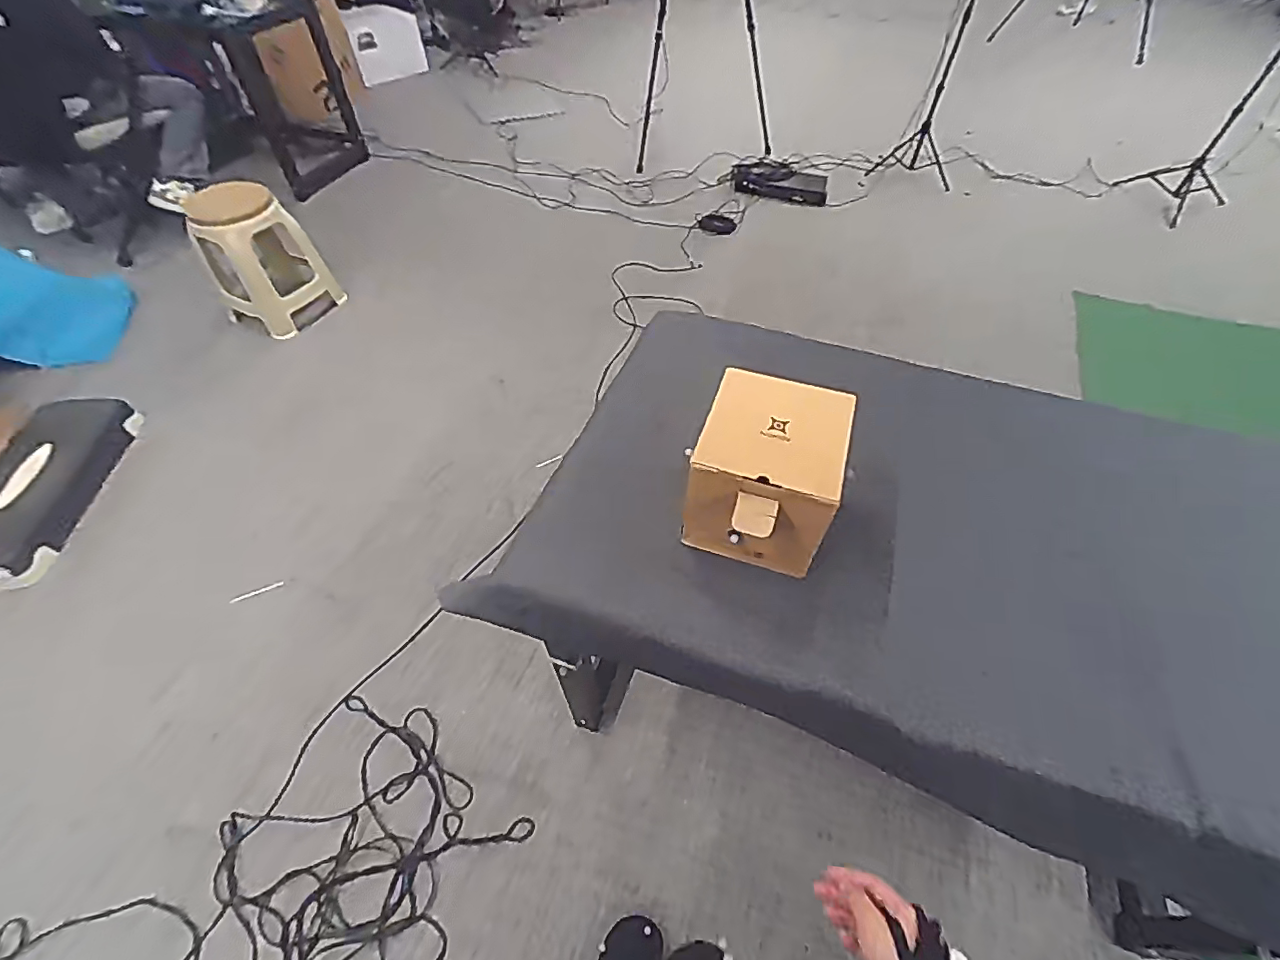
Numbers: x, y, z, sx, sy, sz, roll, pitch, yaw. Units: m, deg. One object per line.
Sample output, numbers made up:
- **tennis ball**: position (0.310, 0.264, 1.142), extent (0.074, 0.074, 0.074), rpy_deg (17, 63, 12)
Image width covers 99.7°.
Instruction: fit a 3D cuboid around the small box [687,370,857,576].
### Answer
- **small box**: position (0.163, -0.008, 0.695), extent (0.168, 0.176, 0.179), rpy_deg (16, 53, 11)
